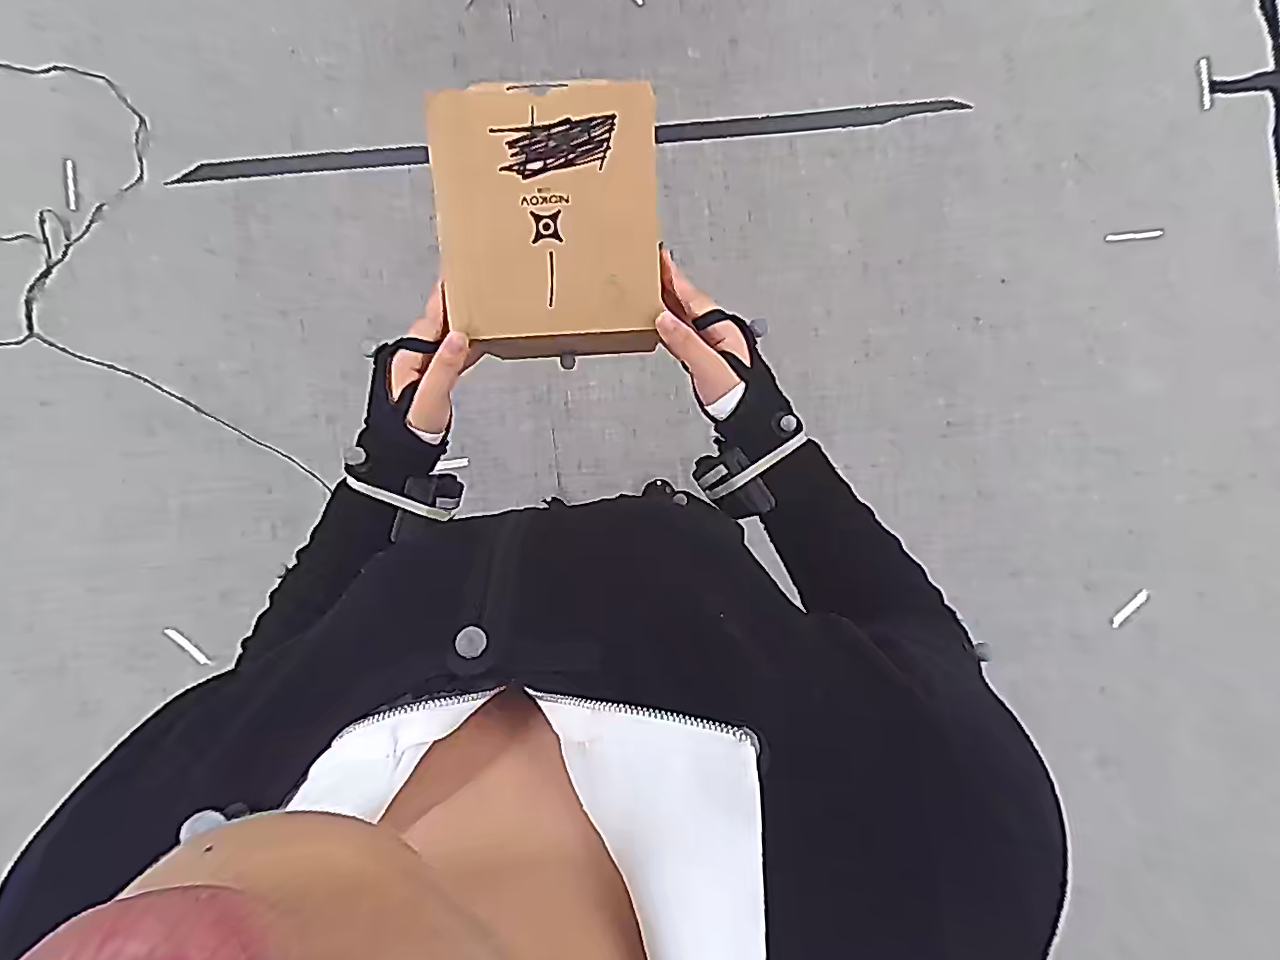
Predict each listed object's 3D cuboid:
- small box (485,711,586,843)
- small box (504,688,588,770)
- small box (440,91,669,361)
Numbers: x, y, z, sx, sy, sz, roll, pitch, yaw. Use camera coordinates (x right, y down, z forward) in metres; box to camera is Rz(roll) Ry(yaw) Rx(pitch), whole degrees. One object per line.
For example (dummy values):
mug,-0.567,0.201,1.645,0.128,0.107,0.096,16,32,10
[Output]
small box,-0.215,0.626,1.155,0.168,0.176,0.179,-10,90,0
small box,-0.223,0.623,1.319,0.168,0.176,0.179,-8,90,0
small box,-0.064,-0.206,0.484,0.168,0.176,0.179,-3,98,0
